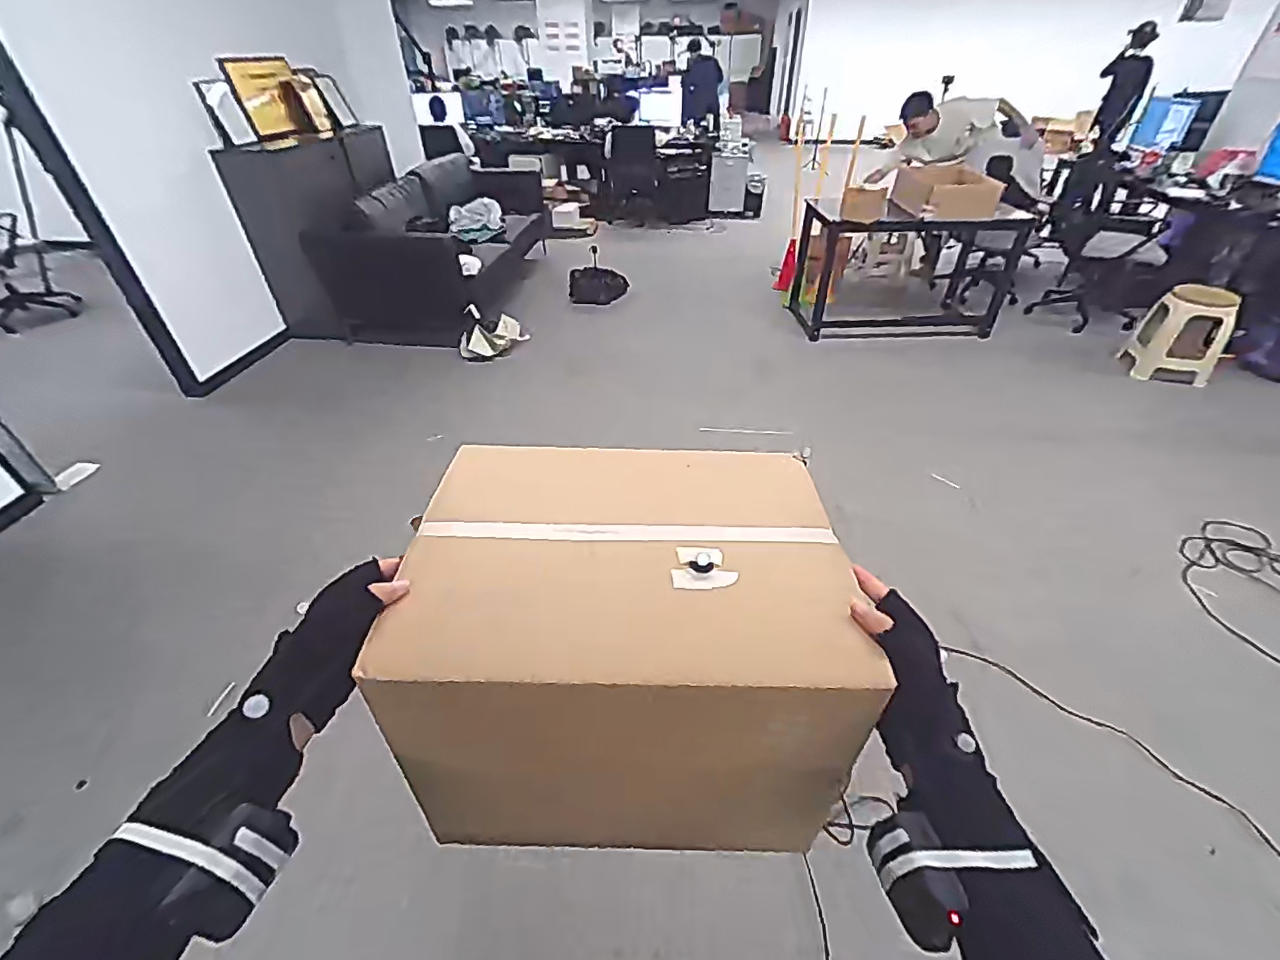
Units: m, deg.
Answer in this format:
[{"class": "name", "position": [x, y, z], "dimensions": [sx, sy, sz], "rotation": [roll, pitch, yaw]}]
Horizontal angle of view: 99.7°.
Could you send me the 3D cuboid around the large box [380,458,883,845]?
[{"class": "large box", "position": [-0.012, 0.187, 0.624], "dimensions": [0.408, 0.320, 0.320], "rotation": [2, 36, -1]}]
